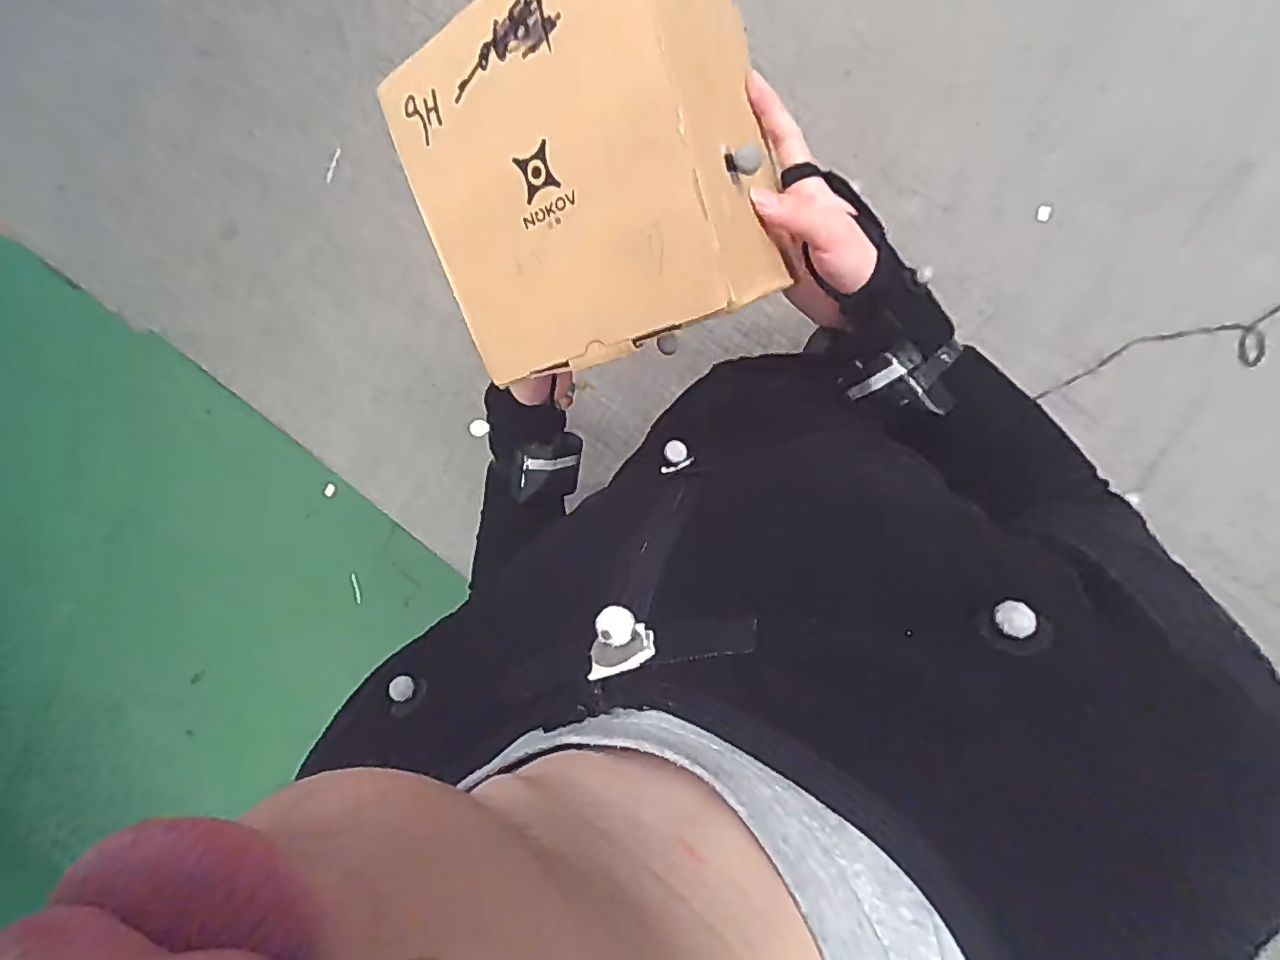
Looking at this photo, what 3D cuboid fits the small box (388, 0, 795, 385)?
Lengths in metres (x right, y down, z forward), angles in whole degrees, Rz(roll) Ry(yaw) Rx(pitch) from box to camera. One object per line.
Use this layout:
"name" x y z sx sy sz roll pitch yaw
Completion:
"small box" -0.012 -0.182 0.349 0.168 0.176 0.179 -10 108 32
